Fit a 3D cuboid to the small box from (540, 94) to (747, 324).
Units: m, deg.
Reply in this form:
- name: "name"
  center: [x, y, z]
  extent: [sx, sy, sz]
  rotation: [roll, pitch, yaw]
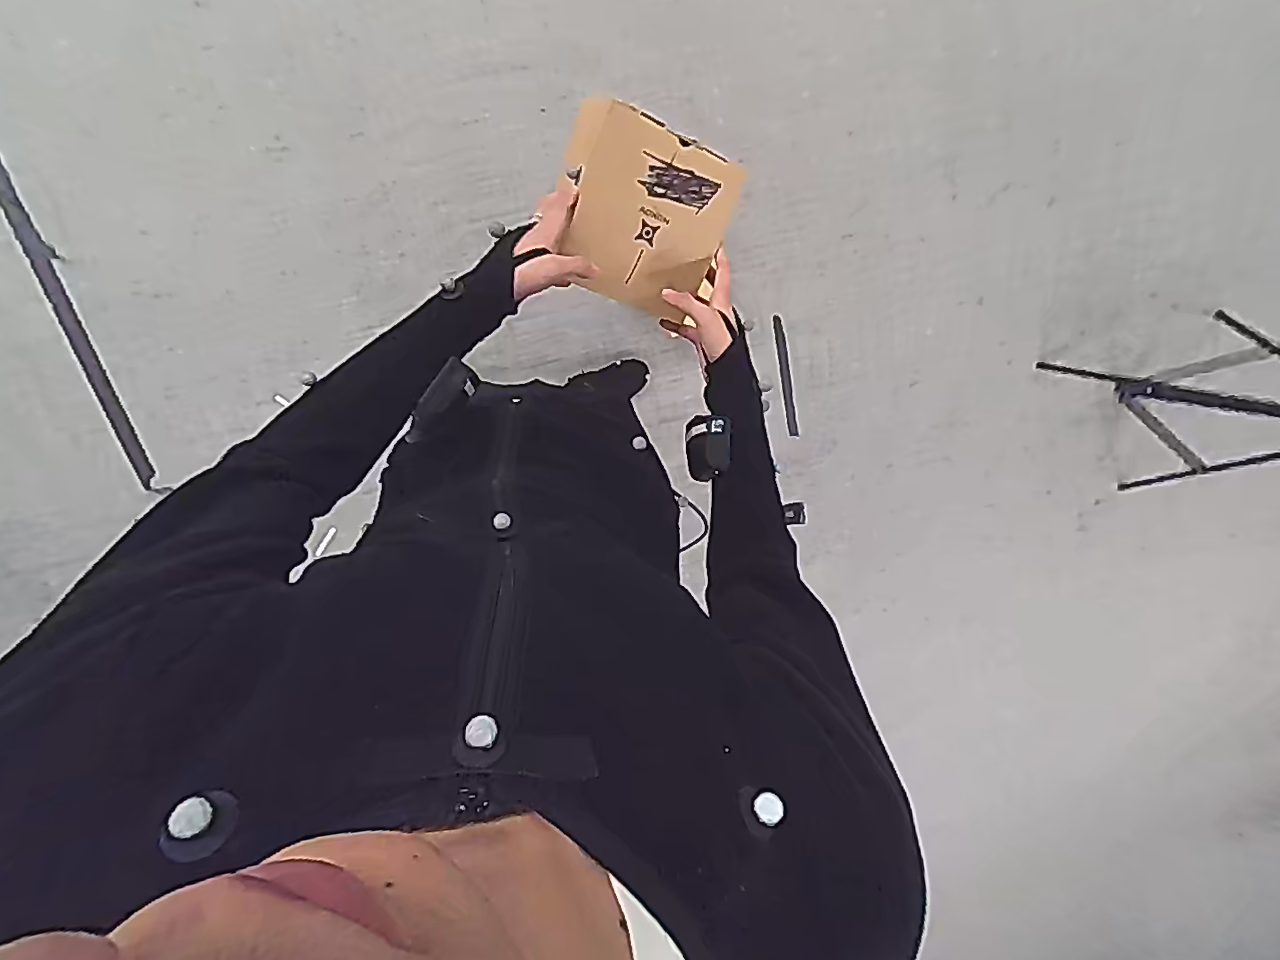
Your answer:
- name: "small box"
  center: [-0.011, -0.314, 0.632]
  extent: [0.168, 0.176, 0.179]
  rotation: [14, 119, -25]

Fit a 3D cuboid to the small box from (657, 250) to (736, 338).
- name: "small box"
  center: [0.129, -0.492, 1.438]
  extent: [0.179, 0.176, 0.168]
  rotation: [-23, 107, 1]
